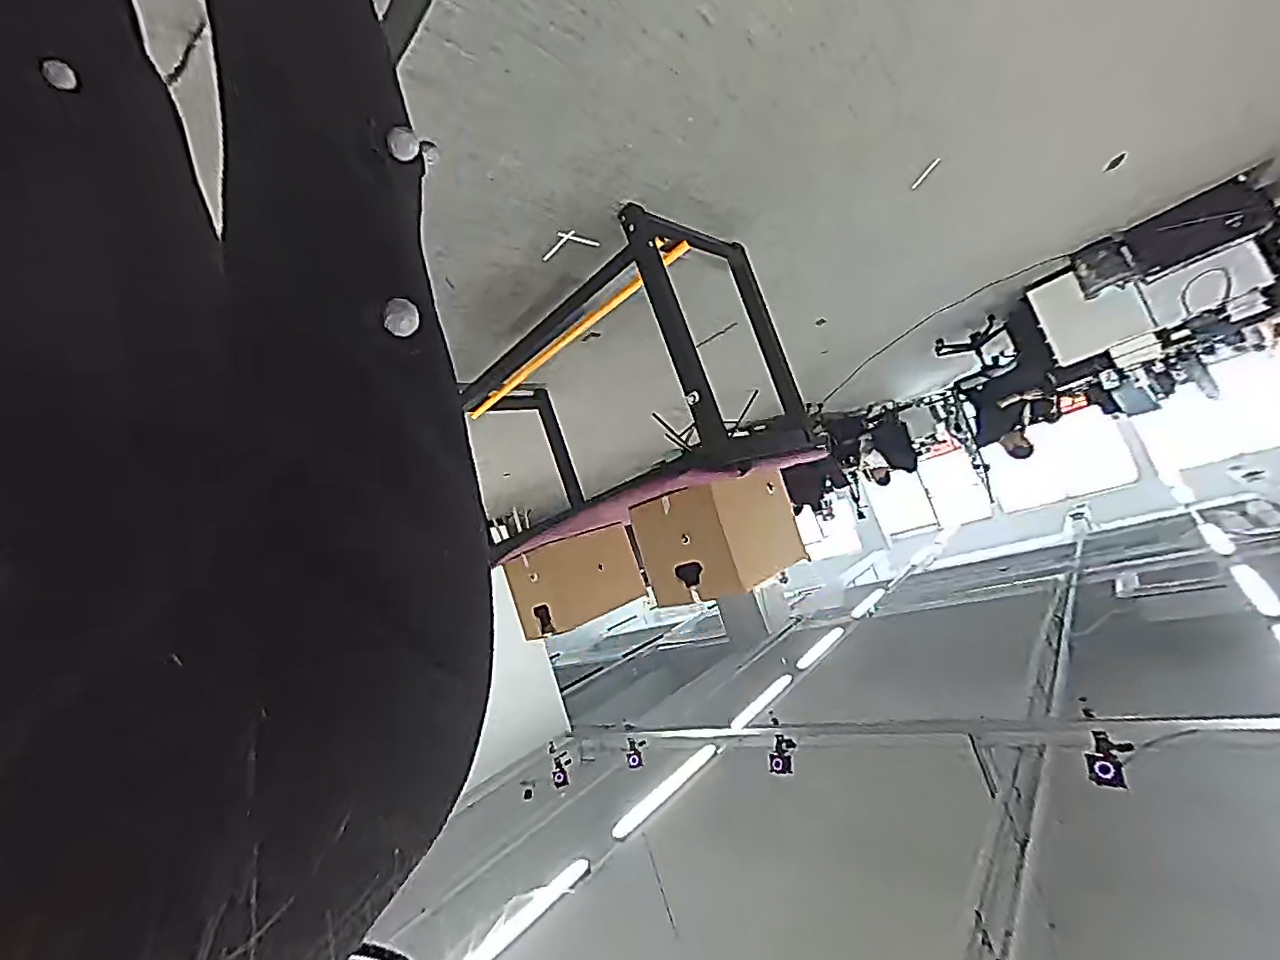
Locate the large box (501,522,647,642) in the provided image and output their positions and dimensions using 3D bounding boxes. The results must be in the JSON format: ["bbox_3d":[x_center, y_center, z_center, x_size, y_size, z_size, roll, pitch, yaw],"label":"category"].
[{"bbox_3d":[-0.253,0.384,2.078,0.320,0.320,0.408,-24,173,40],"label":"large box"}]
